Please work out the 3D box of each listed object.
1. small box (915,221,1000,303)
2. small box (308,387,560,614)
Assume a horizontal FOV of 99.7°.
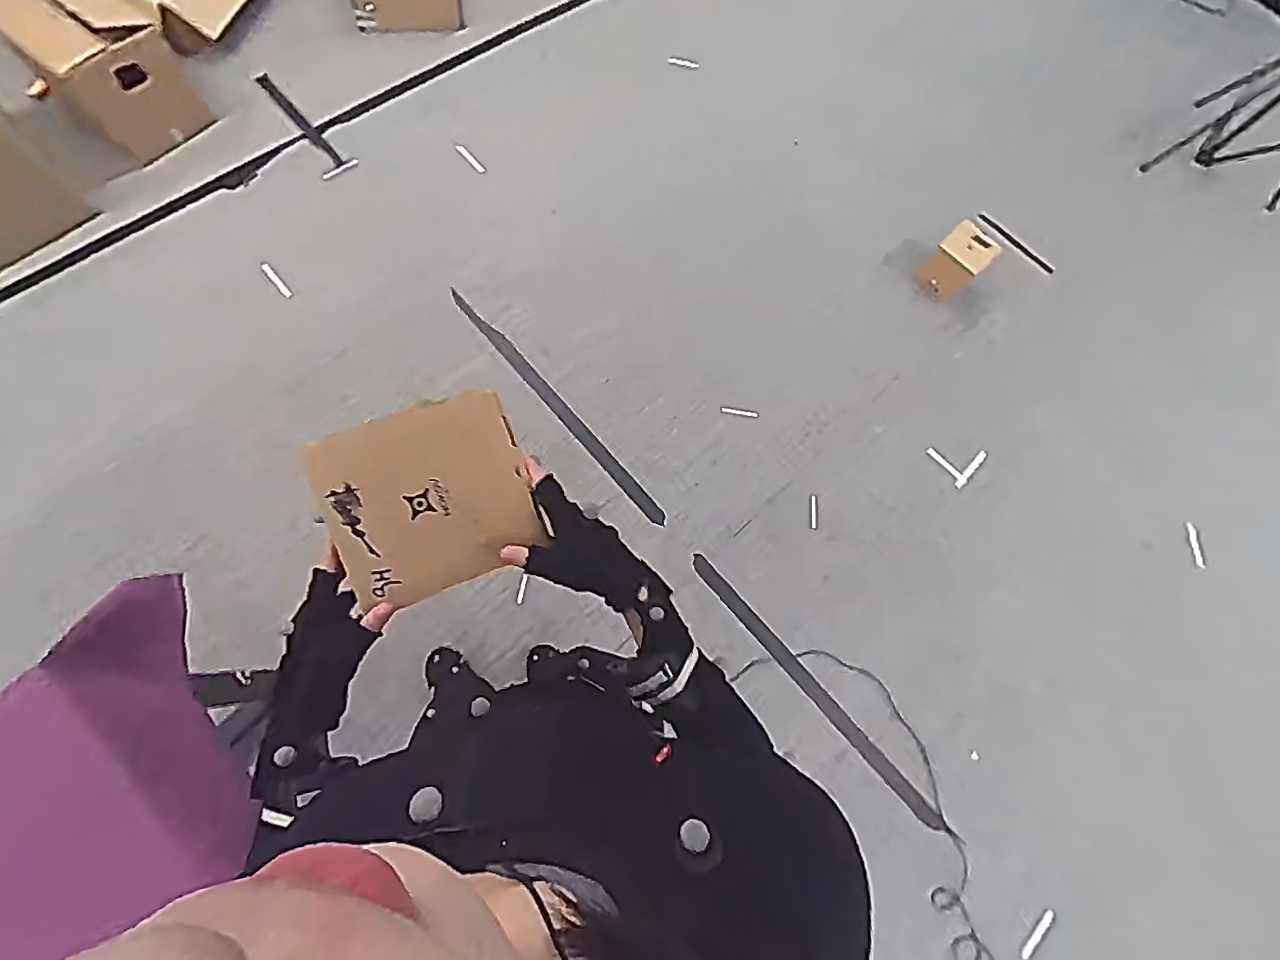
[{"bbox_3d":[1.142,-0.786,1.959,0.179,0.176,0.168,-42,80,-16],"label":"small box"},{"bbox_3d":[-0.195,0.010,0.556,0.179,0.176,0.168,-18,97,-10],"label":"small box"}]
